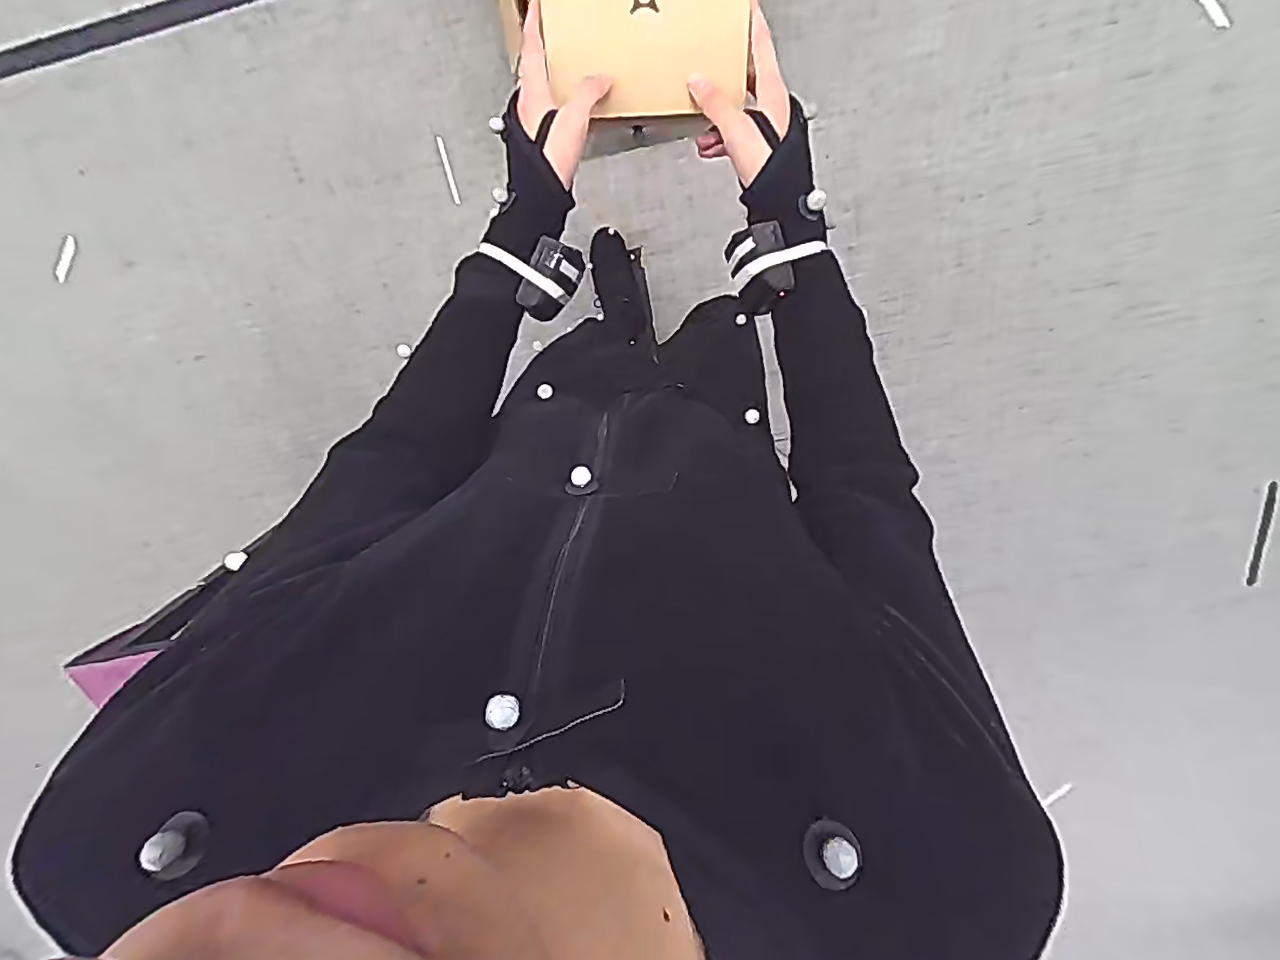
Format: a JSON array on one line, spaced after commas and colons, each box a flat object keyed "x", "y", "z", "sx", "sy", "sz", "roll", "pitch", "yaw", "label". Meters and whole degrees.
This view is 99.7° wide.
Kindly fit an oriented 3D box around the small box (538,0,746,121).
[{"x": -0.001, "y": -0.429, "z": 0.482, "sx": 0.168, "sy": 0.176, "sz": 0.179, "roll": -3, "pitch": 119, "yaw": -1, "label": "small box"}]
